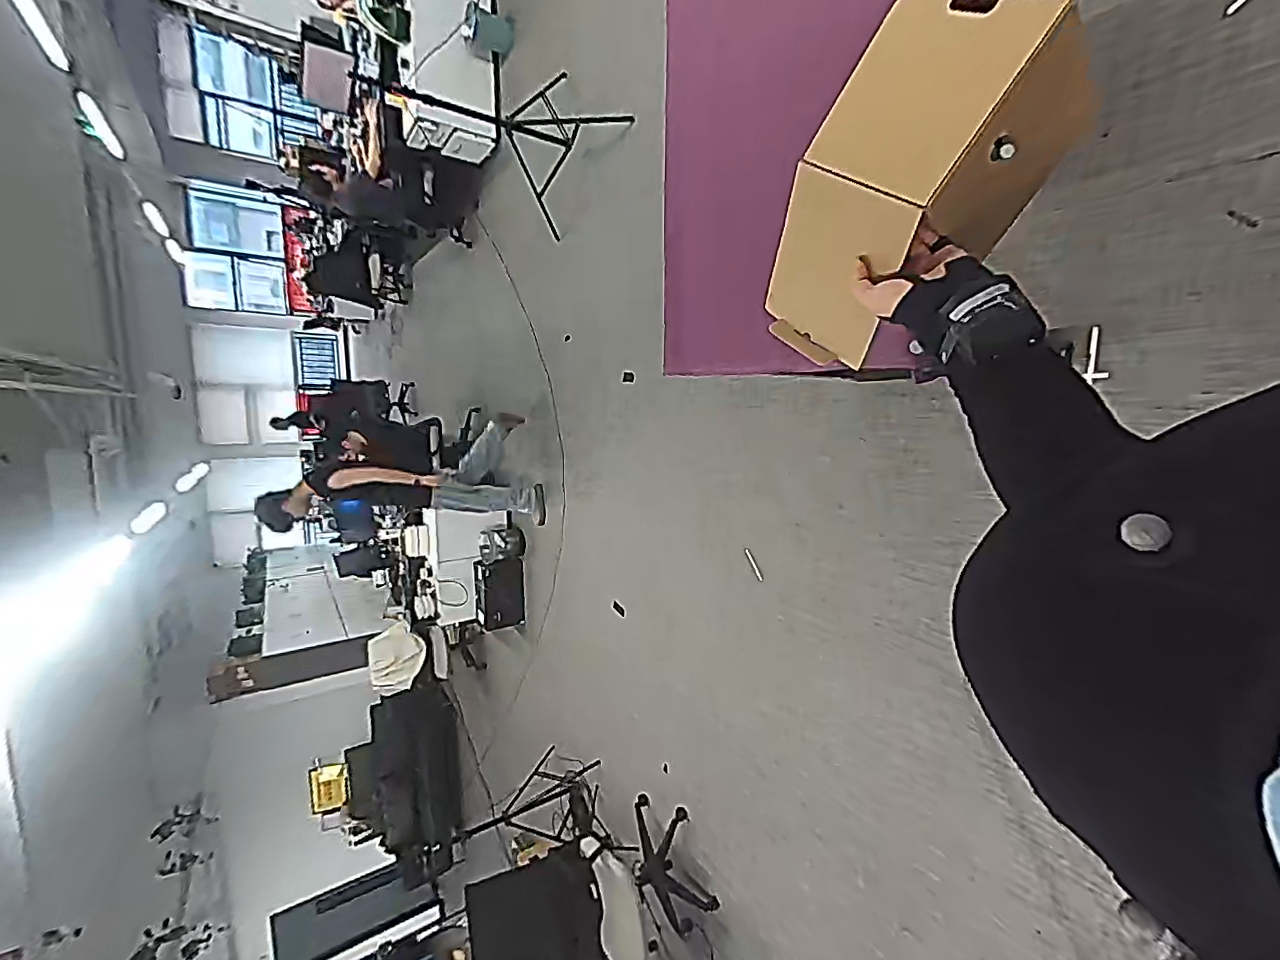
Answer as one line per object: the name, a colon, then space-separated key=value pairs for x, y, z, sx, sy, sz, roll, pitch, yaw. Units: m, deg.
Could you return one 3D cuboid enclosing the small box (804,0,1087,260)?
small box: x=0.316 y=-0.360 z=0.562 sx=0.168 sy=0.176 sz=0.179 roll=51 pitch=120 yaw=36
